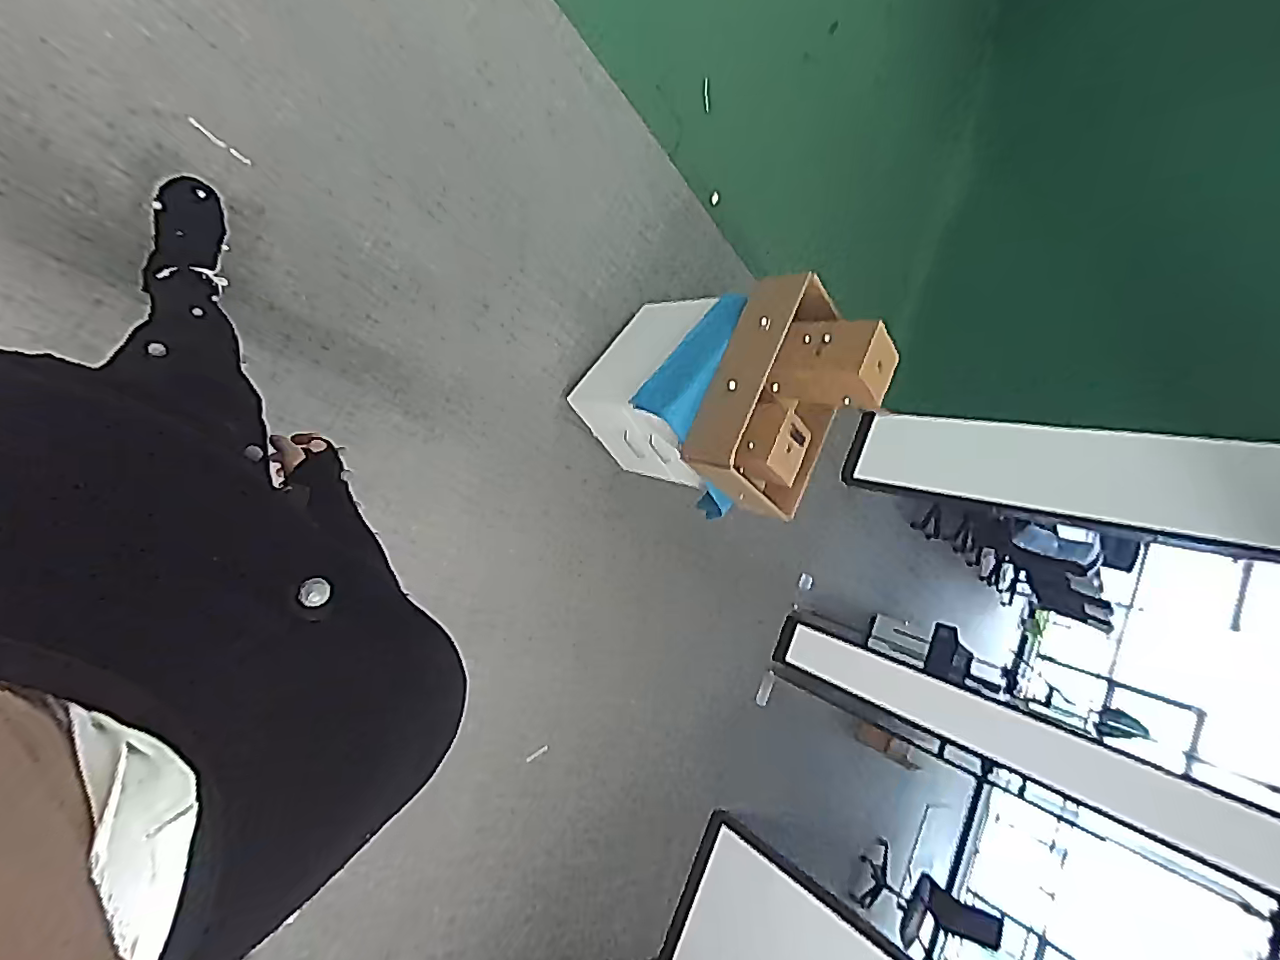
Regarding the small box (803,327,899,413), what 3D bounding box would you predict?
[{"bbox_3d":[0.583,-0.308,1.497,0.179,0.176,0.168,35,76,-43],"label":"small box"}]
